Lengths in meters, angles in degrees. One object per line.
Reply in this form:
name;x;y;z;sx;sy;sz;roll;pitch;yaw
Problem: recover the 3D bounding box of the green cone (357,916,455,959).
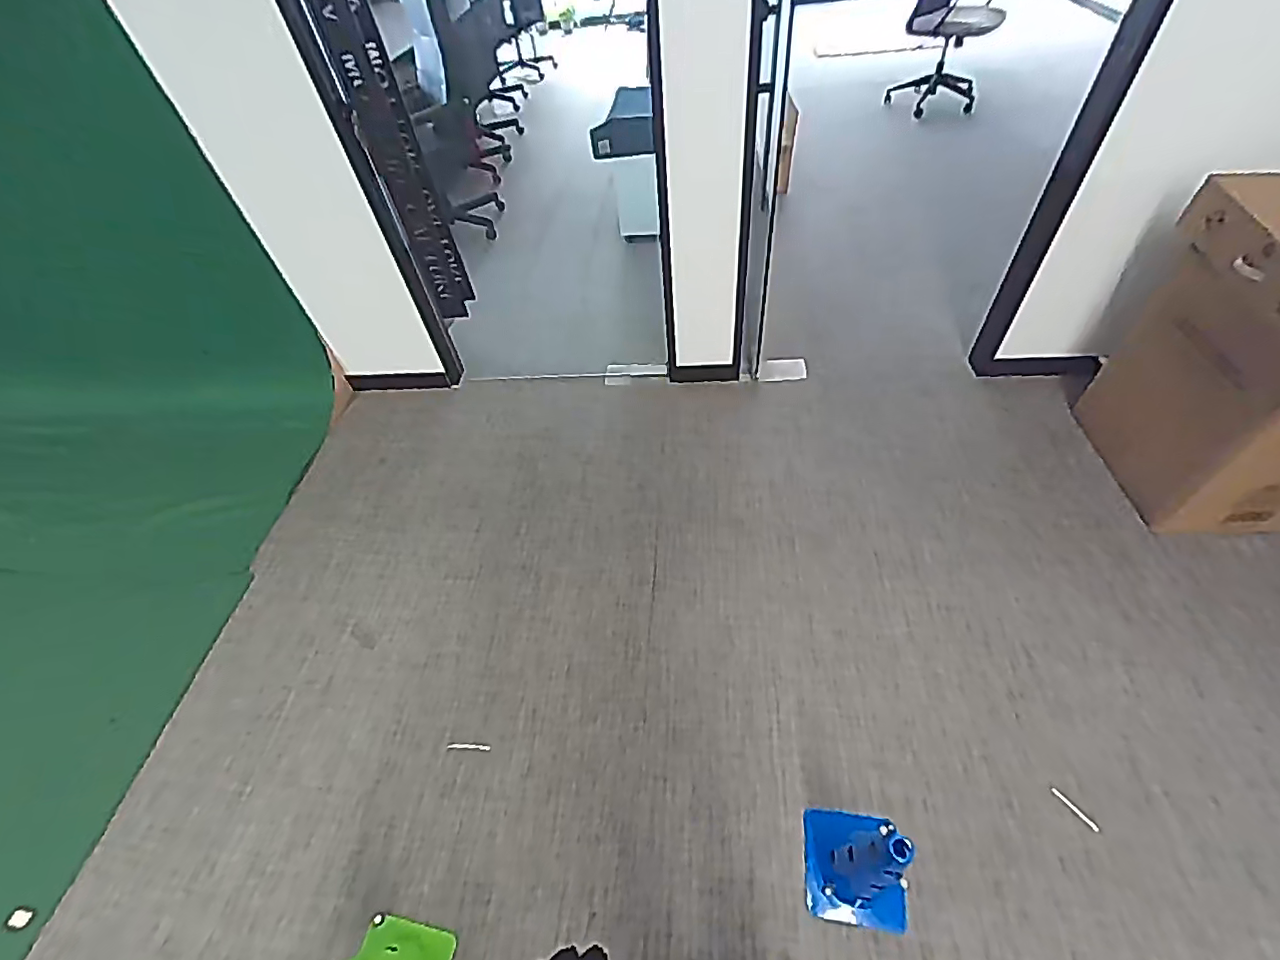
green cone;-0.513;0.918;0.971;0.202;0.368;0.200;5;50;11
